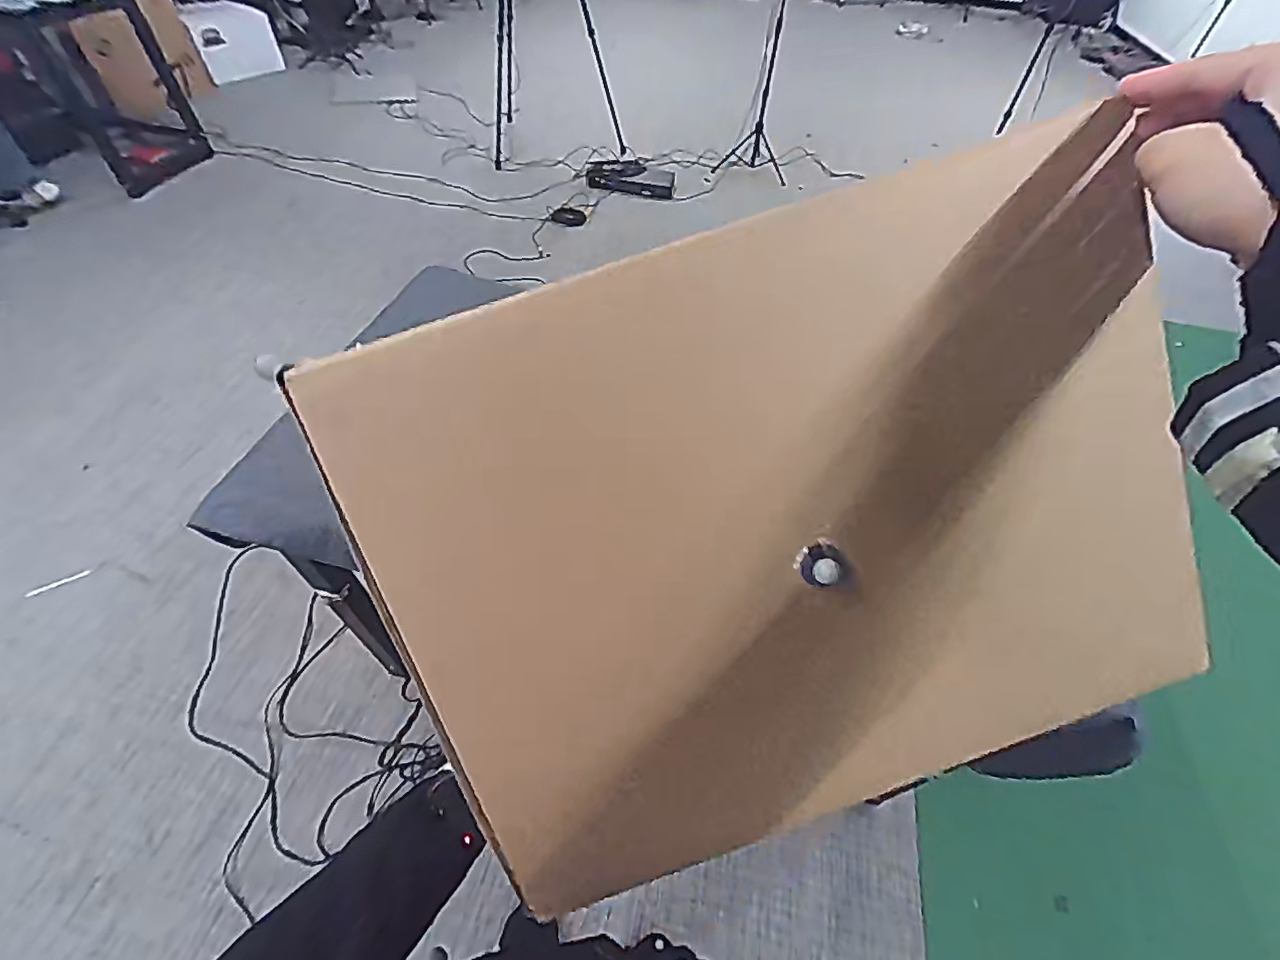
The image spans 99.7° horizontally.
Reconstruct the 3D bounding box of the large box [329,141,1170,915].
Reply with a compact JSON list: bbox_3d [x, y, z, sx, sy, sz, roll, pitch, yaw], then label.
[{"bbox_3d":[0.076,0.015,0.428,0.408,0.320,0.320,-21,11,-4],"label":"large box"}]
